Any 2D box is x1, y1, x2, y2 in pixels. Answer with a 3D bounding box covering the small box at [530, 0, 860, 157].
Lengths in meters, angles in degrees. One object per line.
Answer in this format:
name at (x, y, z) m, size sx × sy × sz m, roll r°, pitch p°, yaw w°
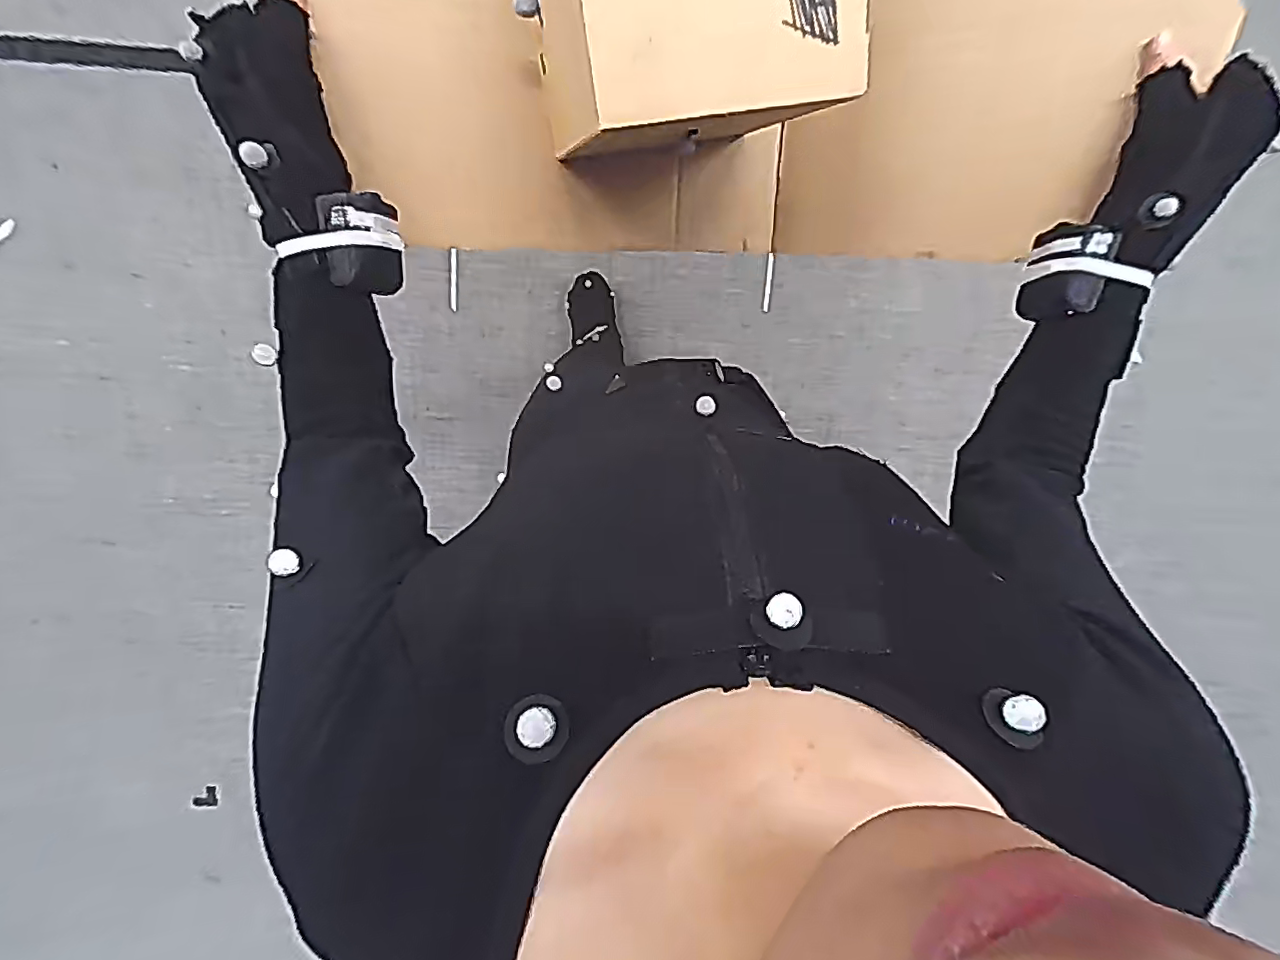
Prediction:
small box at (0.025, -0.329, 0.366) m, size 0.179 × 0.176 × 0.168 m, roll -14°, pitch 118°, yaw -11°
